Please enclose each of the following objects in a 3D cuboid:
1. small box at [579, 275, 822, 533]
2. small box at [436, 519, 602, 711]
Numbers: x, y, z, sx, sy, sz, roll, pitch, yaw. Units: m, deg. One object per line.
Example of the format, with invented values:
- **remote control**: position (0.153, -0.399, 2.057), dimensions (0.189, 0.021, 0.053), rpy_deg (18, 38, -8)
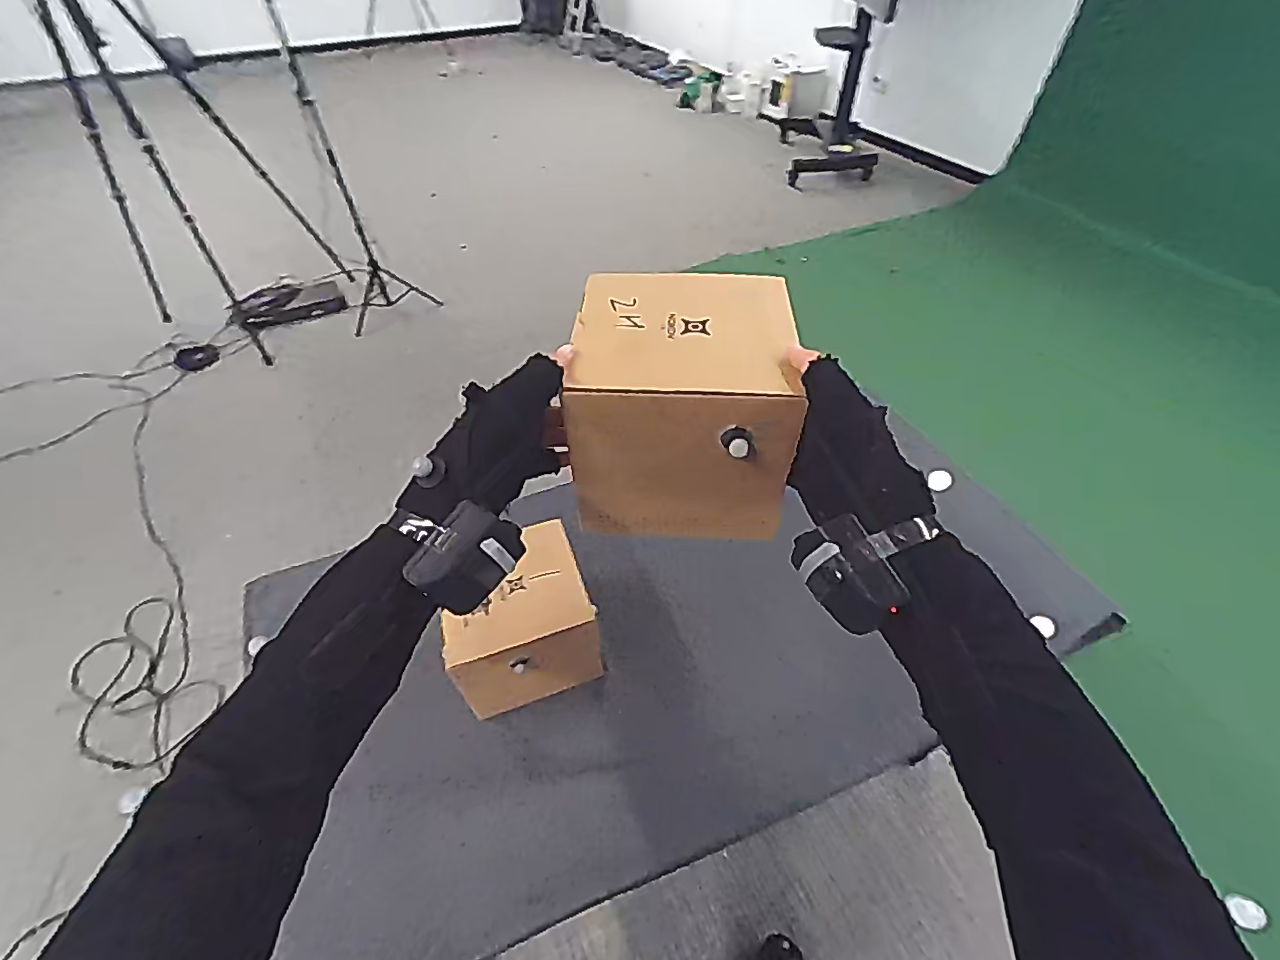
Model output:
- **small box**: position (0.048, -0.066, 0.495), dimensions (0.179, 0.176, 0.168), rpy_deg (3, 47, 3)
- **small box**: position (-0.160, 0.187, 0.740), dimensions (0.179, 0.176, 0.168), rpy_deg (-16, 50, -15)
